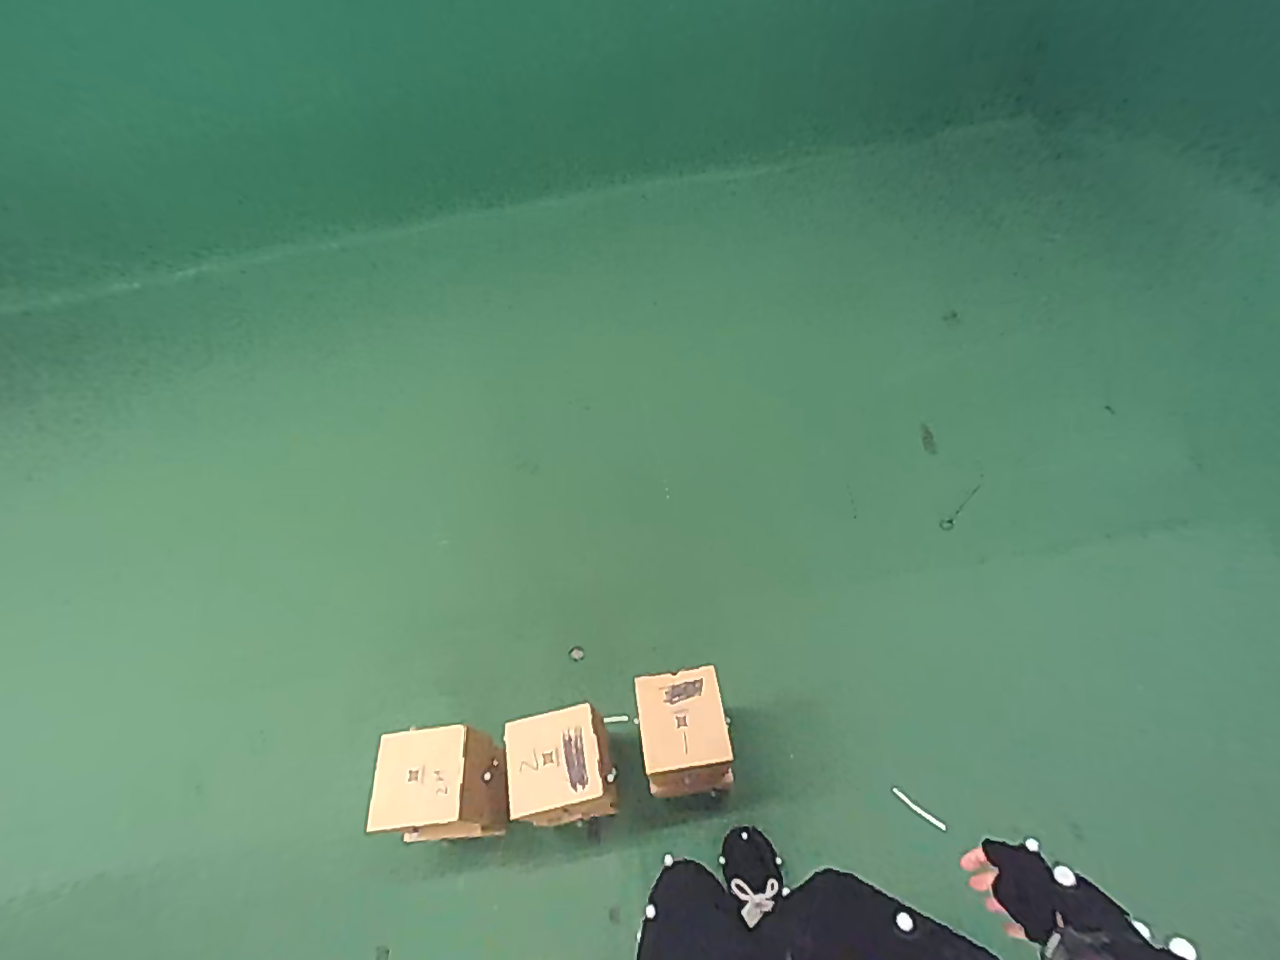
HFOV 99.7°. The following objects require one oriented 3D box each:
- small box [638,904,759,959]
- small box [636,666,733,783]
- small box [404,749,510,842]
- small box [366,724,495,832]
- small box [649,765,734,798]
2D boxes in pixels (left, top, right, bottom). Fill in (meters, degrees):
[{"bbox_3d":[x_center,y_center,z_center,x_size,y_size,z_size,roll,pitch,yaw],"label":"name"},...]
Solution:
[{"bbox_3d":[0.100,0.922,1.007,0.179,0.176,0.168,-3,52,34],"label":"small box"},{"bbox_3d":[0.087,0.501,1.103,0.168,0.176,0.179,-9,55,0],"label":"small box"},{"bbox_3d":[-0.402,0.707,1.221,0.168,0.176,0.179,-7,55,3],"label":"small box"},{"bbox_3d":[-0.411,0.604,1.091,0.179,0.176,0.168,-7,55,2],"label":"small box"},{"bbox_3d":[0.106,0.613,1.223,0.179,0.176,0.168,-8,55,1],"label":"small box"}]
